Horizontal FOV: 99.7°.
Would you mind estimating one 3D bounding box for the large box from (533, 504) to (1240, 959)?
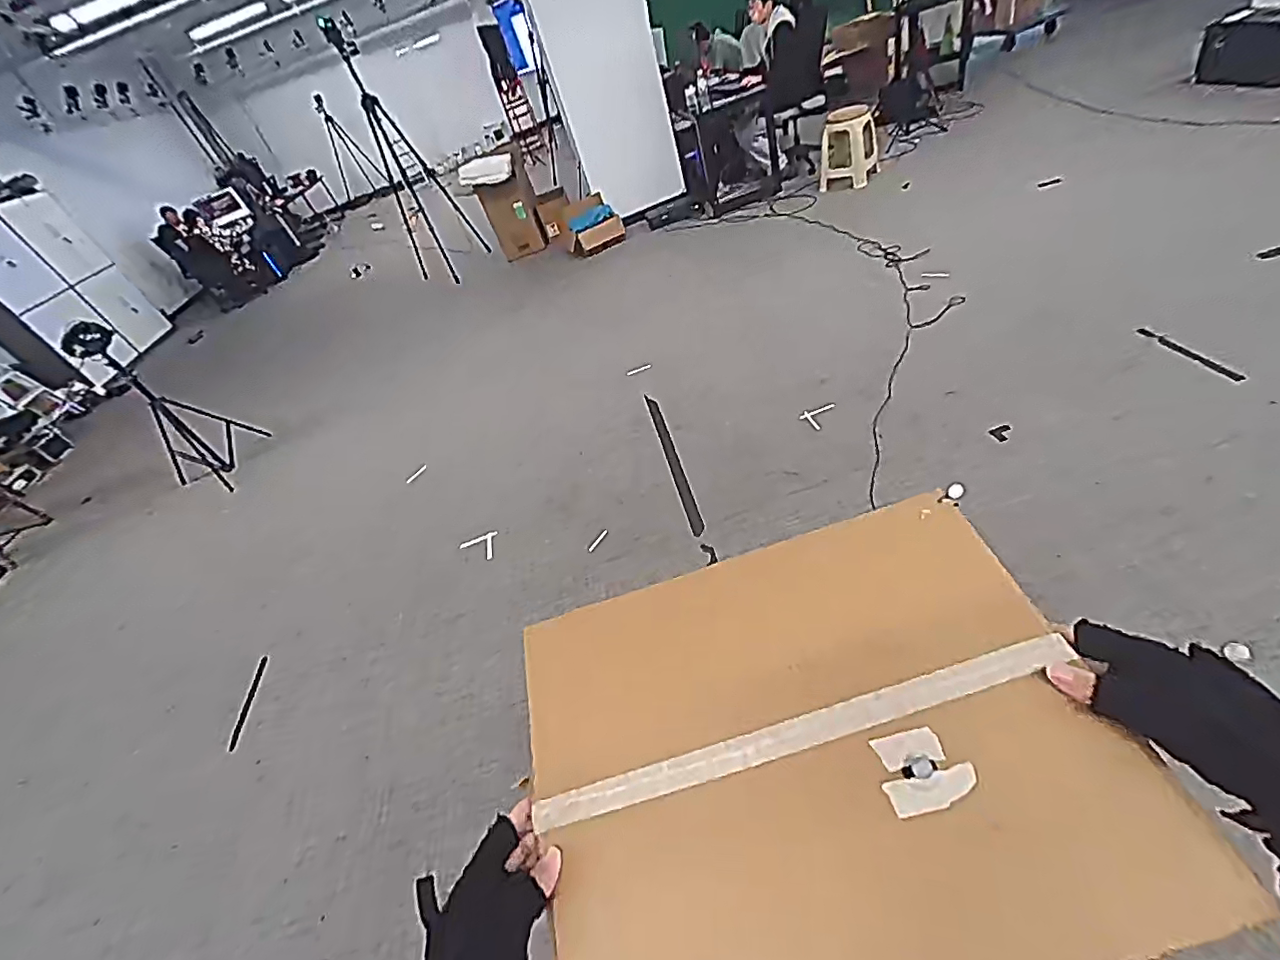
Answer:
[{"bbox_3d":[0.154,0.288,0.517,0.408,0.320,0.320,-19,49,1],"label":"large box"}]
